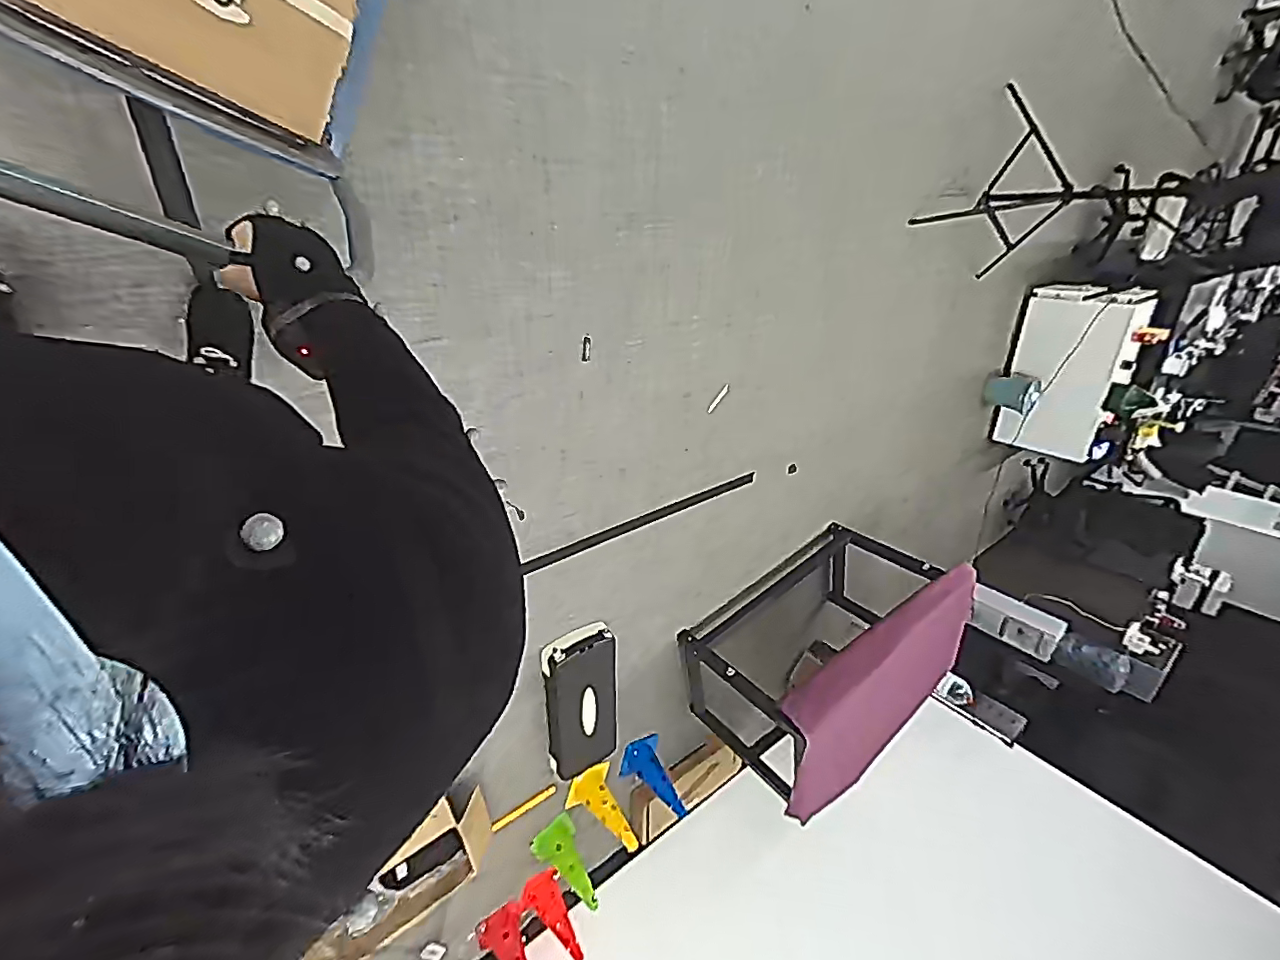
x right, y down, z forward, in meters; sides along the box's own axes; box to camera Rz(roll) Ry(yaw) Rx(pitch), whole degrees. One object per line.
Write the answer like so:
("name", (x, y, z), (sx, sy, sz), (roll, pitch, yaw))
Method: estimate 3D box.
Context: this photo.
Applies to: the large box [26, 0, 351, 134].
("large box", (-0.638, -0.746, 0.721), (0.408, 0.320, 0.320), (10, 118, -43))
